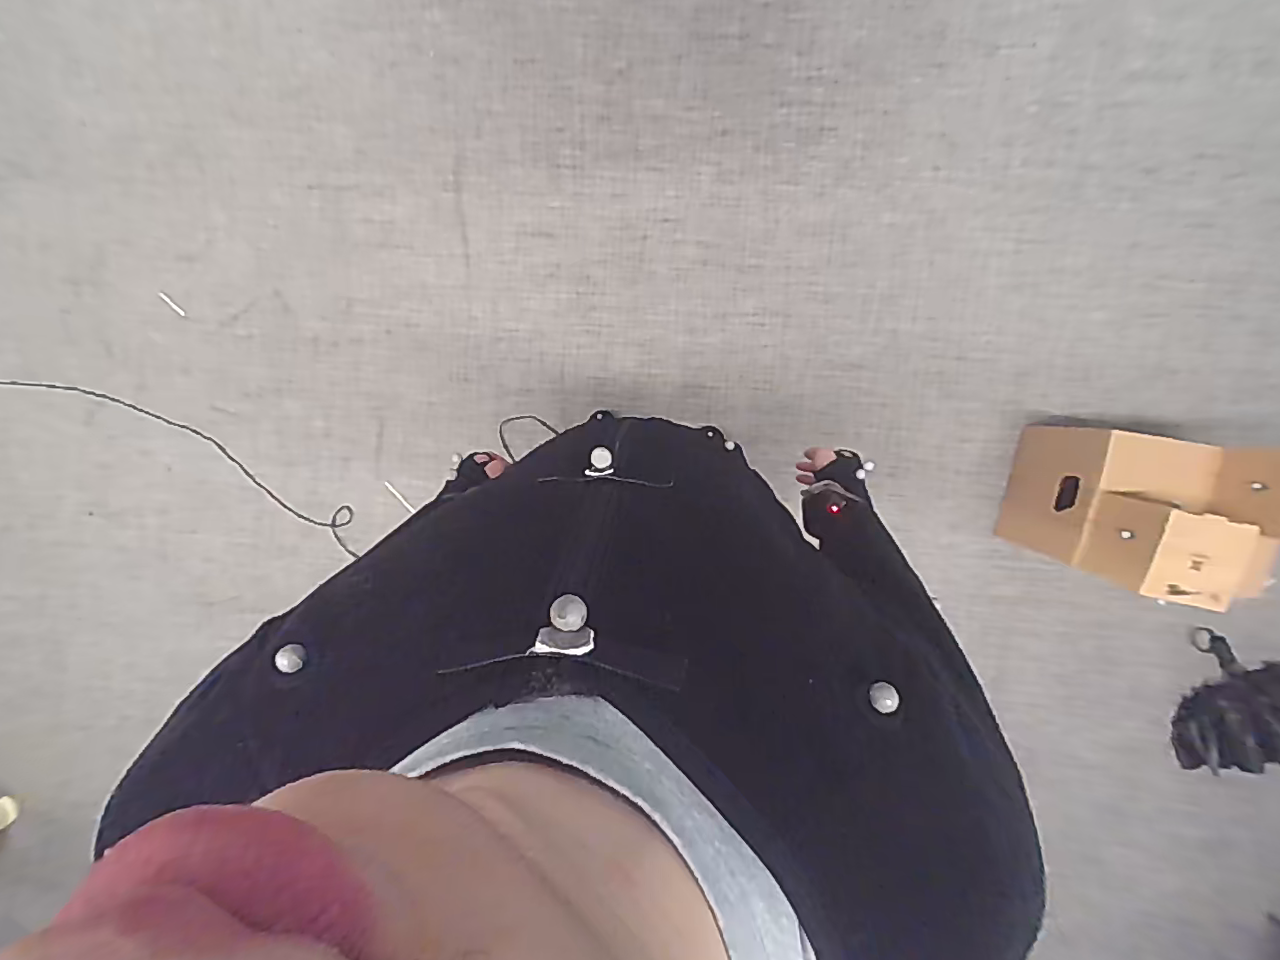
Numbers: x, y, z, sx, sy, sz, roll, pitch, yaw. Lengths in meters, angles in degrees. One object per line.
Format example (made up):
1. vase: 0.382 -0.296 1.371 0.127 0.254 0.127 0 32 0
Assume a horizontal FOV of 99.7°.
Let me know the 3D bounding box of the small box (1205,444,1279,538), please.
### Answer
1. small box: 1.297 0.028 1.073 0.168 0.176 0.179 11 94 2

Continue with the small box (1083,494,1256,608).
1. small box: 1.058 0.135 1.100 0.168 0.176 0.179 11 99 2
